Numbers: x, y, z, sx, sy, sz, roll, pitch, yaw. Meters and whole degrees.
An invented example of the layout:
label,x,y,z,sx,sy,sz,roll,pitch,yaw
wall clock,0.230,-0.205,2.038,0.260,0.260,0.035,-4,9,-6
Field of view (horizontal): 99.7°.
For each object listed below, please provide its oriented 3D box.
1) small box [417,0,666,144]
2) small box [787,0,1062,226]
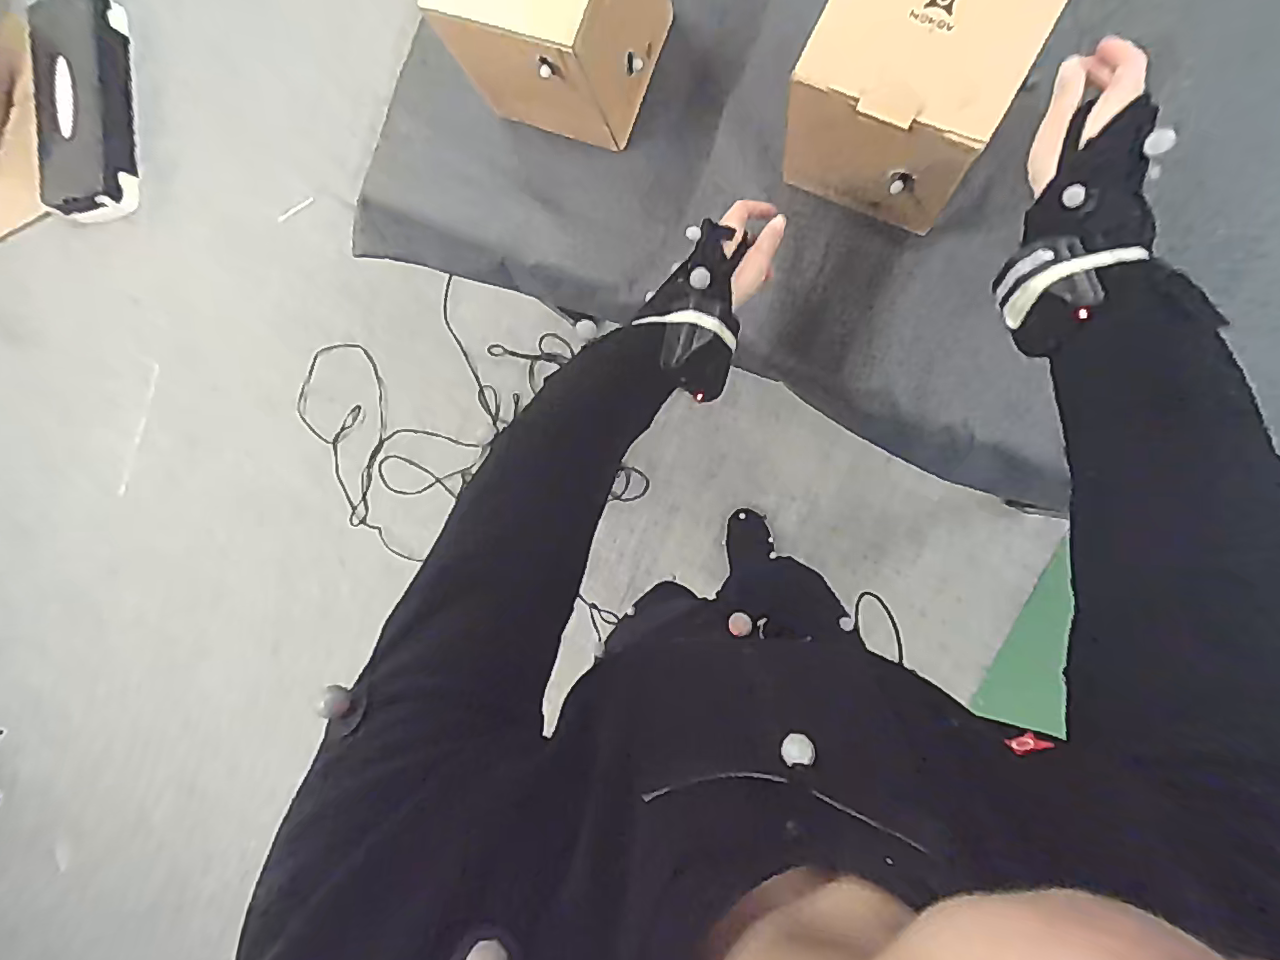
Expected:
label,x,y,z,sx,sy,sz,roll,pitch,yaw
small box,-0.091,-0.496,0.571,0.179,0.176,0.168,23,96,11
small box,0.247,-0.370,0.497,0.168,0.176,0.179,28,96,10
